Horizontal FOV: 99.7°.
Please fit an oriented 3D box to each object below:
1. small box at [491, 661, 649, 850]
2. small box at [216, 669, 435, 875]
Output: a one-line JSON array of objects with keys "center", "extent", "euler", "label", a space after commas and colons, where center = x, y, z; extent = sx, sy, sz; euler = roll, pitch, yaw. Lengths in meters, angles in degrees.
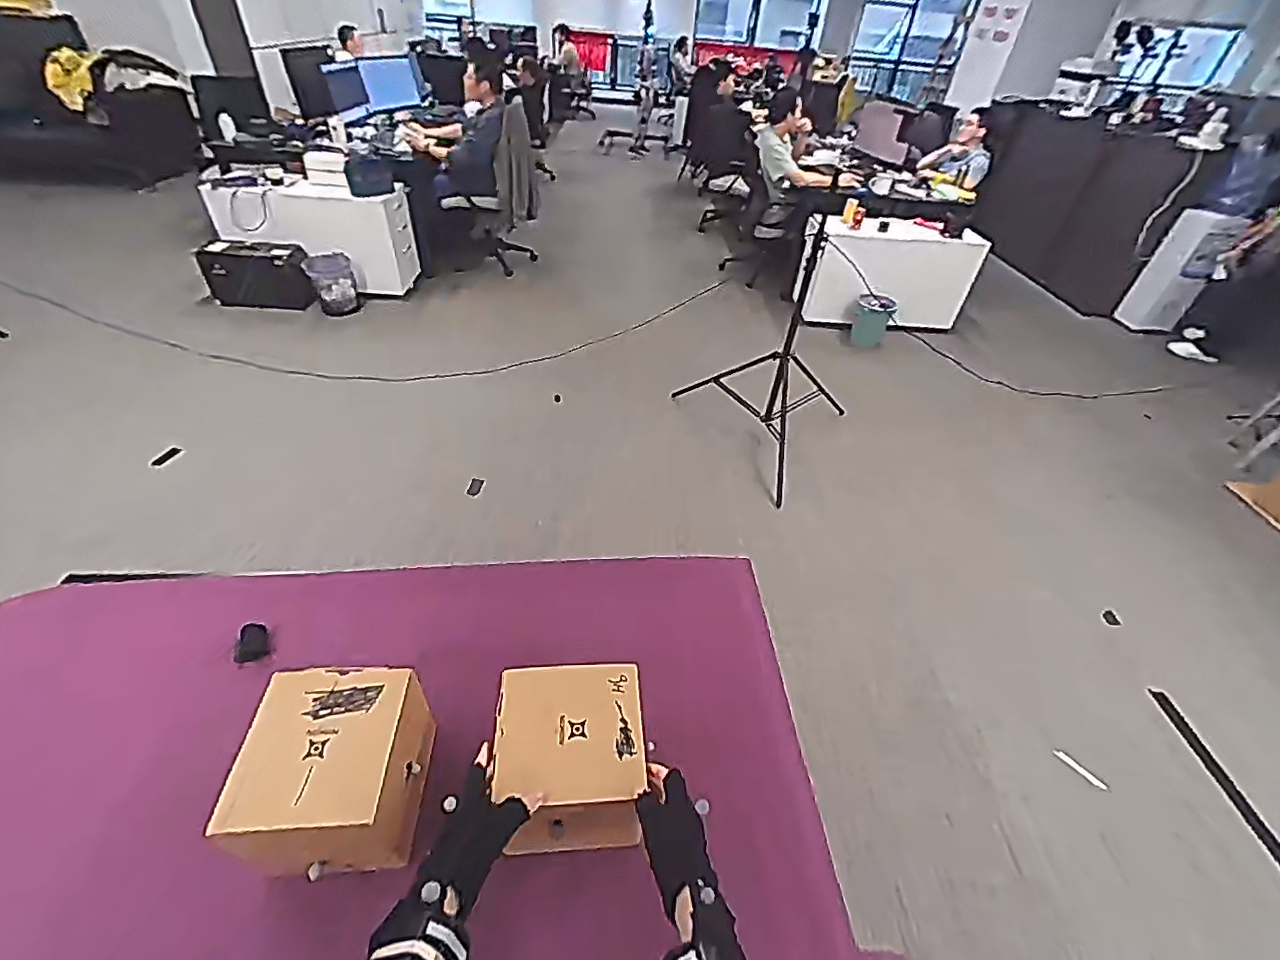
[{"center": [-0.083, 0.356, 0.699], "extent": [0.179, 0.176, 0.168], "euler": [-1, 41, -6], "label": "small box"}, {"center": [-0.362, 0.357, 0.668], "extent": [0.168, 0.176, 0.179], "euler": [0, 42, -6], "label": "small box"}]
